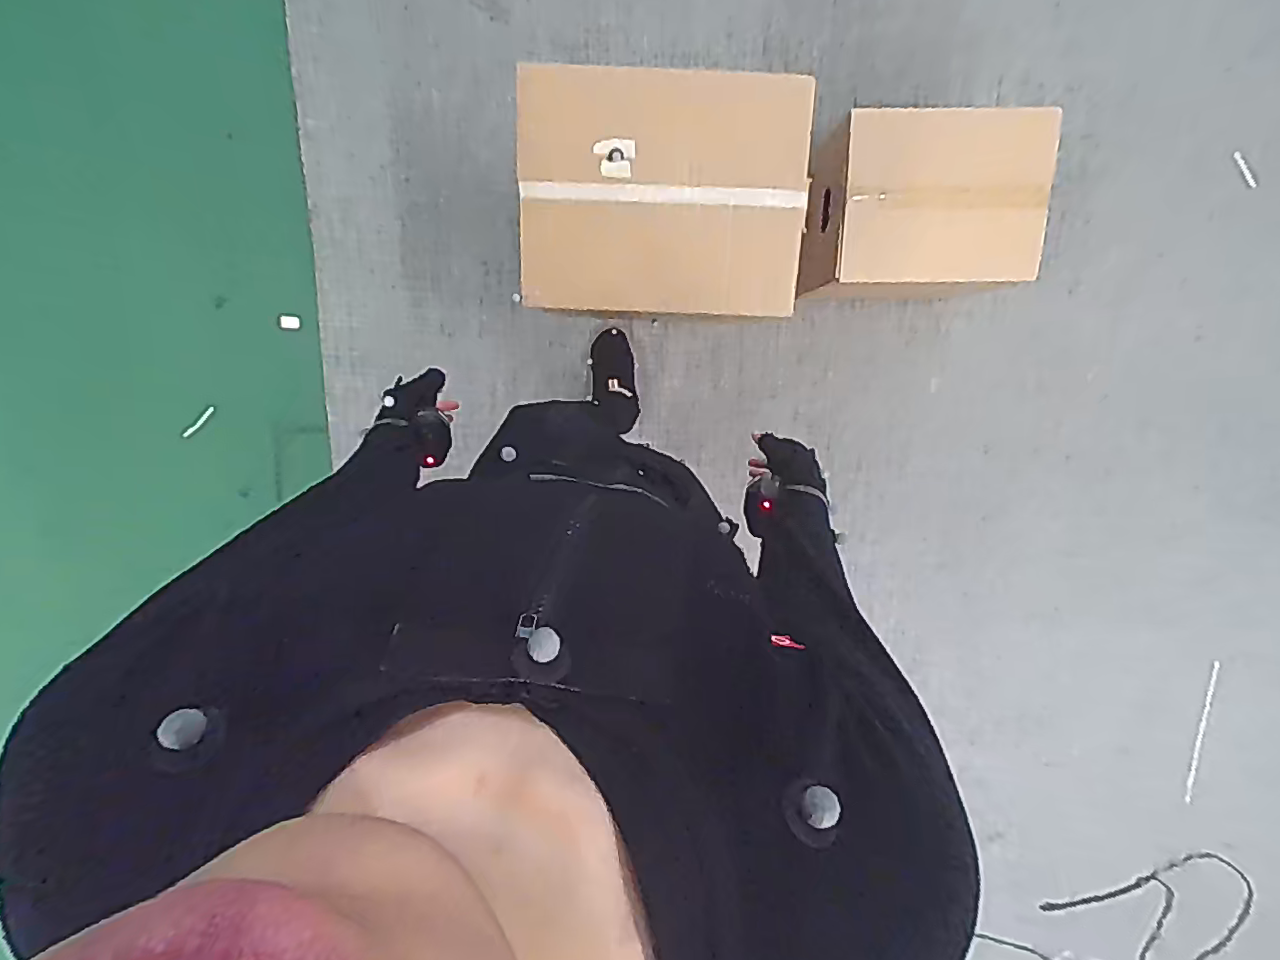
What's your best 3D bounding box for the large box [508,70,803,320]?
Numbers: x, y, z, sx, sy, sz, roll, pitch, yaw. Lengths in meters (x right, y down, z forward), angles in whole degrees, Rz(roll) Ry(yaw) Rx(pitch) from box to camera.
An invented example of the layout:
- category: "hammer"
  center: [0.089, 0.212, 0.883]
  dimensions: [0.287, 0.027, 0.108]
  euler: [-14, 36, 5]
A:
- category: "large box"
  center: [0.021, -0.433, 0.901]
  dimensions: [0.408, 0.320, 0.320]
  euler: [2, 104, 0]
